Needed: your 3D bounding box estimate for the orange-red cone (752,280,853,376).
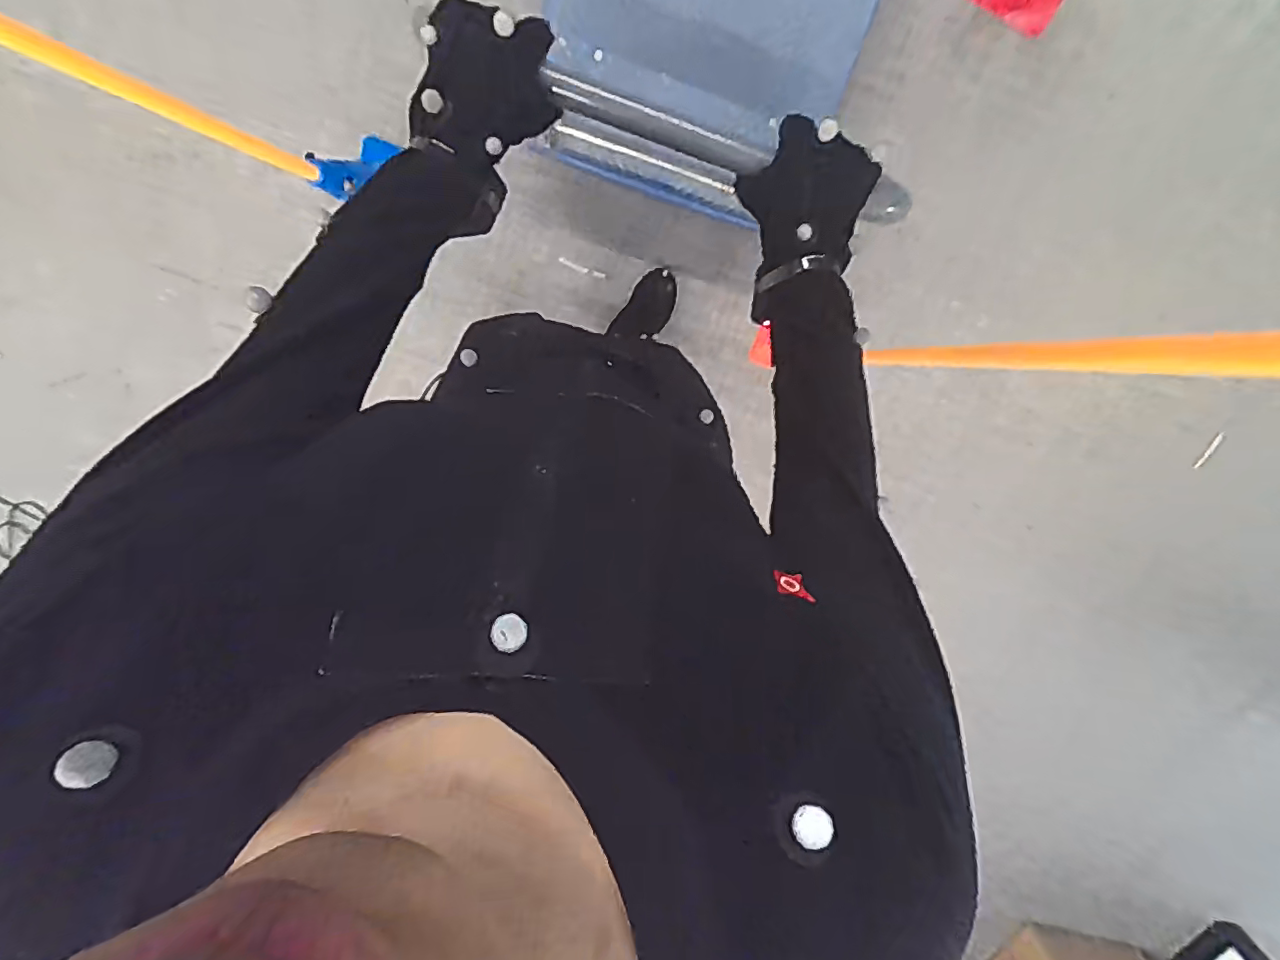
[{"bbox_3d":[0.399,-0.321,1.211,0.199,0.360,0.198,19,111,-5],"label":"orange-red cone"}]
